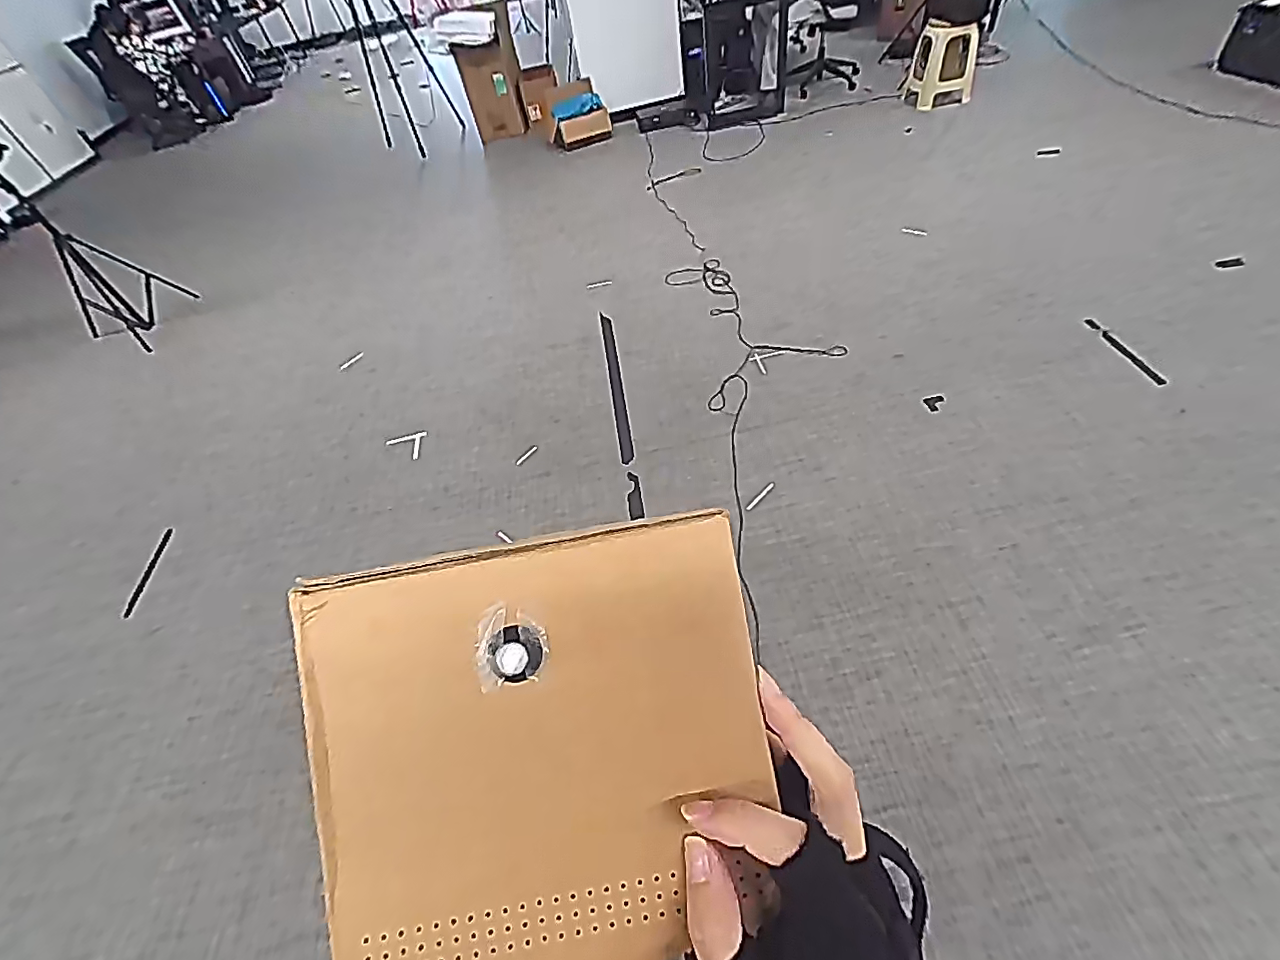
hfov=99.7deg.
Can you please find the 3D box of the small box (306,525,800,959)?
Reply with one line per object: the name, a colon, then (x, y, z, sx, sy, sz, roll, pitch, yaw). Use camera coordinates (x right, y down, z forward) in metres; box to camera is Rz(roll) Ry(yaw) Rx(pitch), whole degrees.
small box: (-0.036, 0.122, 0.287, 0.179, 0.168, 0.176, -9, 86, -2)
